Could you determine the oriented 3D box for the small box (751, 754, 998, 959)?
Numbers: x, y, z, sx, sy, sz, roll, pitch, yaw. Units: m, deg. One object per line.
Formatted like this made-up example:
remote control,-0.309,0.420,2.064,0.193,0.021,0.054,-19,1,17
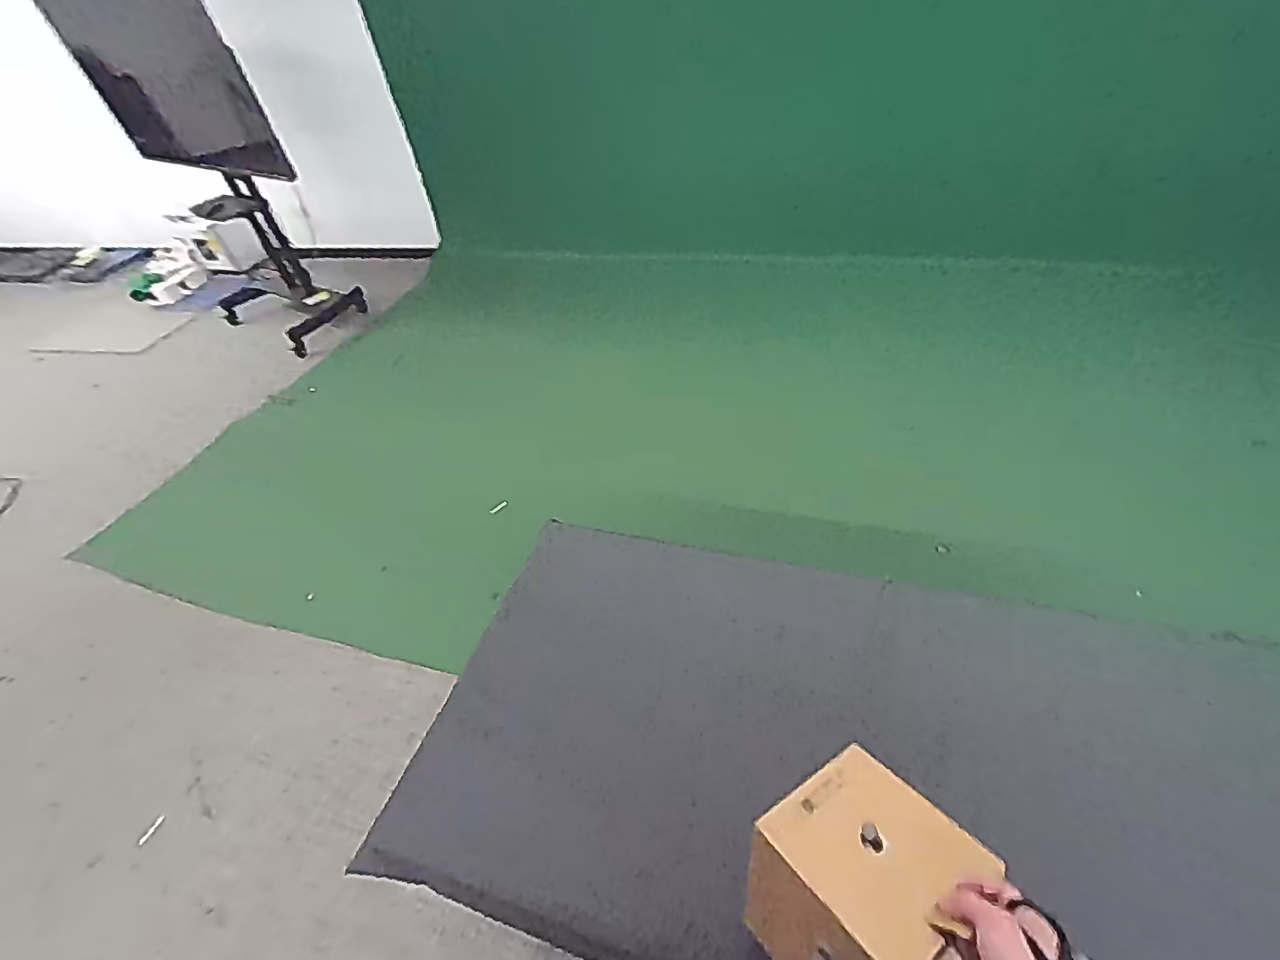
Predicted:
small box,0.230,0.422,0.561,0.168,0.179,0.176,-22,31,-30
